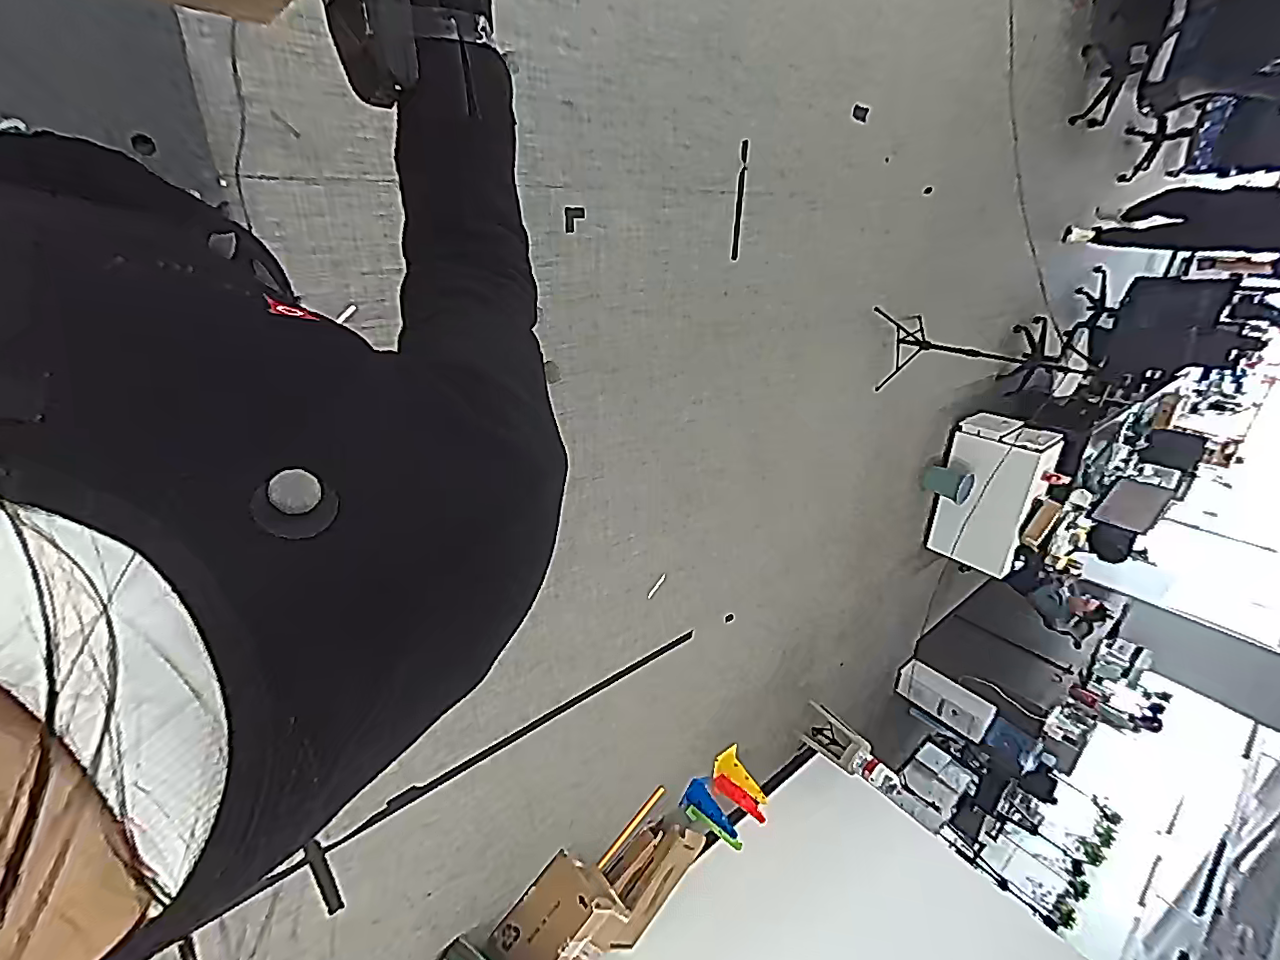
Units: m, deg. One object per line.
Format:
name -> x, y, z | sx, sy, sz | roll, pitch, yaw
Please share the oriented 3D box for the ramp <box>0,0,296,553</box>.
ramp -> -1.037, -0.395, 0.999 | 0.509, 0.206, 0.991 | -17, 119, -33
